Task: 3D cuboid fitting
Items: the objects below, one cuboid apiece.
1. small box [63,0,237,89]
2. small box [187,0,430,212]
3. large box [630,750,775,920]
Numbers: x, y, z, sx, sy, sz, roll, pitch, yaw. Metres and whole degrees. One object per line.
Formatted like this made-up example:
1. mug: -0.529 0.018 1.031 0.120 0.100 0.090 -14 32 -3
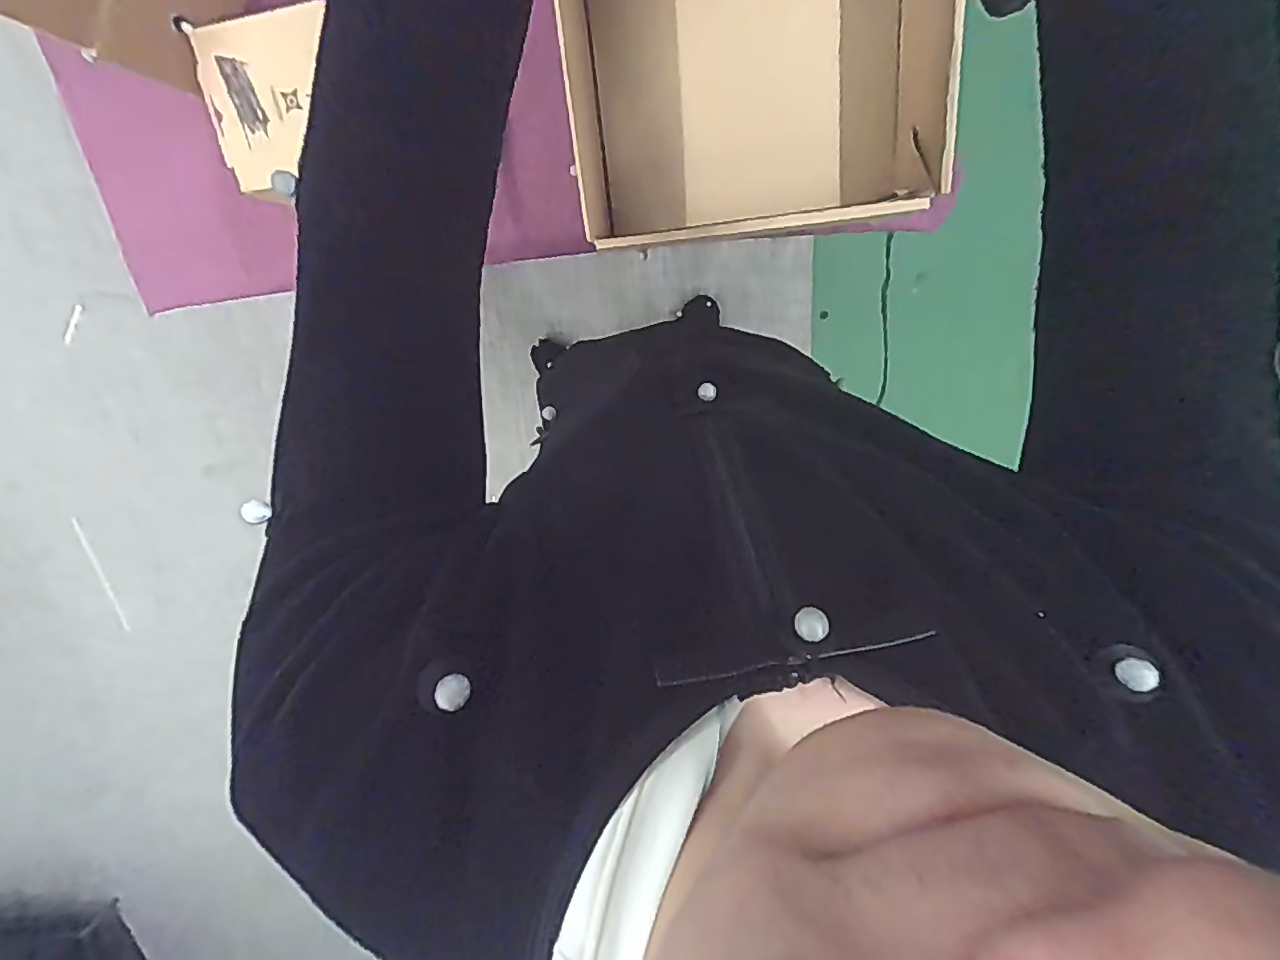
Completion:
1. small box: -0.637 -0.612 0.645 0.179 0.176 0.168 35 108 -9
2. small box: -0.399 -0.452 0.686 0.179 0.176 0.168 -7 108 6
3. large box: 0.217 1.280 1.967 0.408 0.320 0.320 -35 104 14
